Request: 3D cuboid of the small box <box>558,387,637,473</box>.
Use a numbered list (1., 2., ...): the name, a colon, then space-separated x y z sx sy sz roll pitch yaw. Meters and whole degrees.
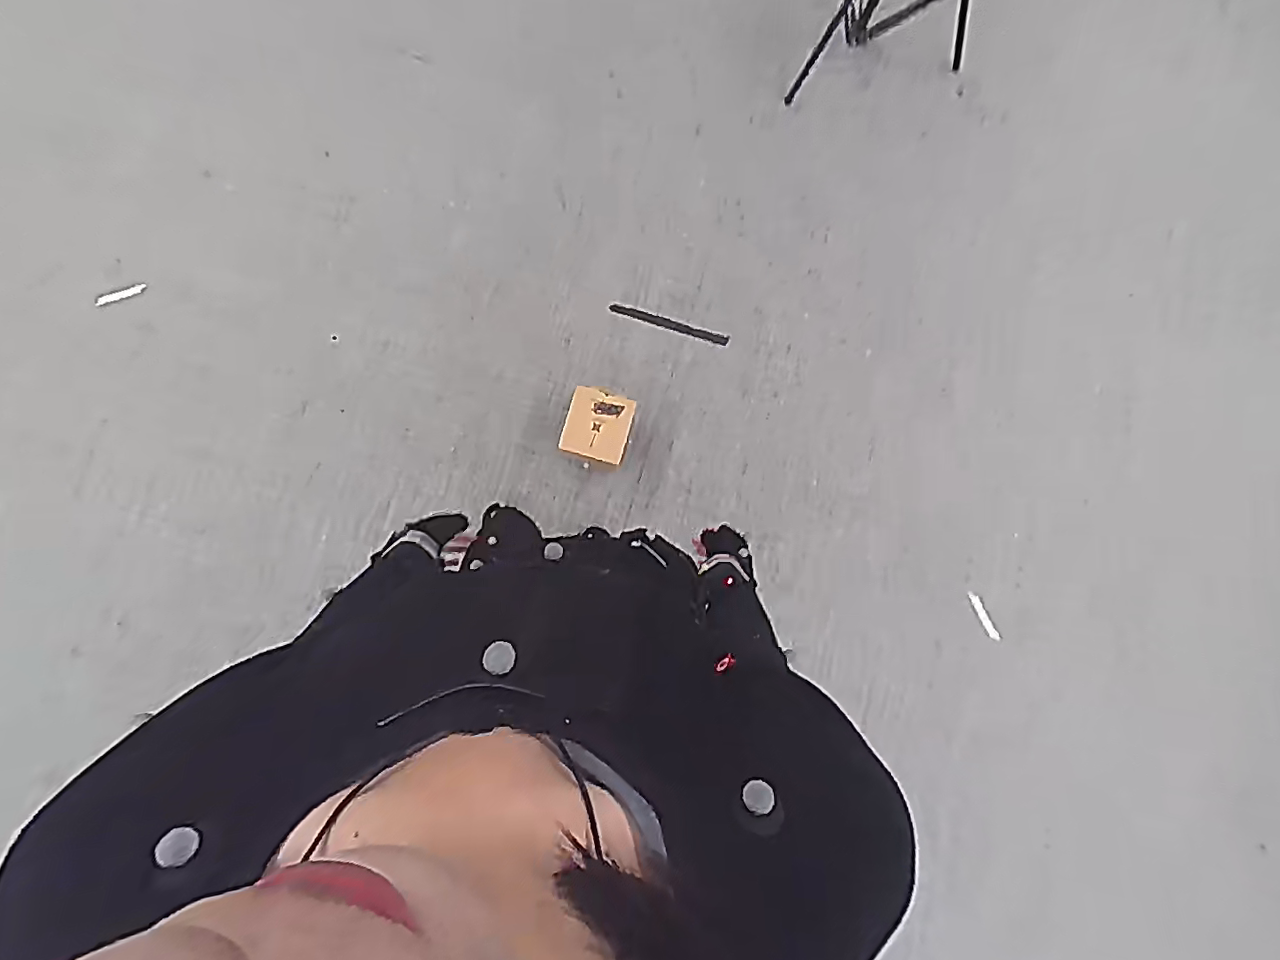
1. small box: -0.115 -0.129 1.466 0.168 0.176 0.179 17 84 -2
